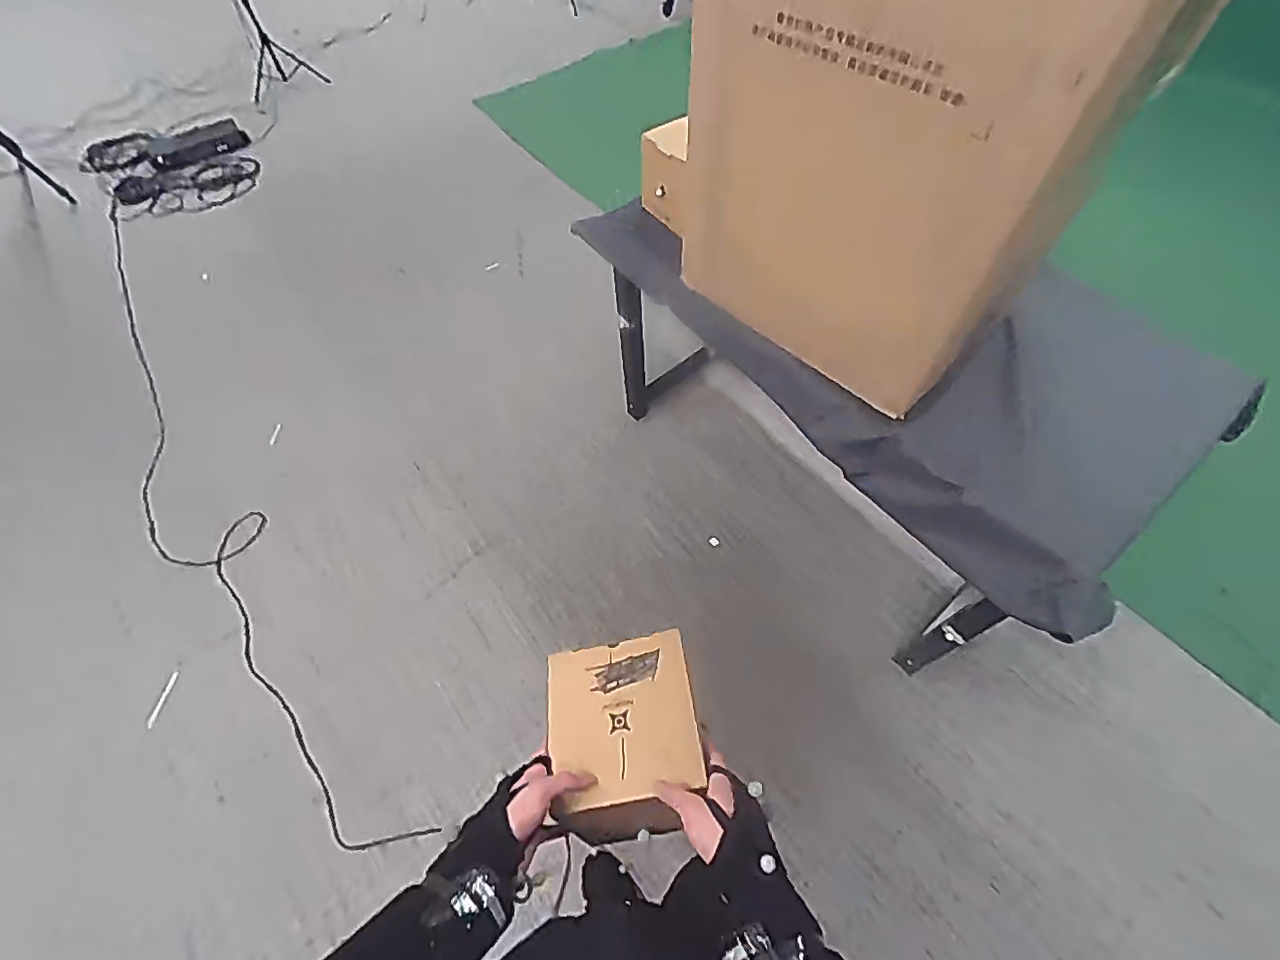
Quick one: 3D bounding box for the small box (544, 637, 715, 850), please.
[{"bbox_3d":[-0.011,0.324,0.663,0.168,0.176,0.179,-14,46,4],"label":"small box"}]
